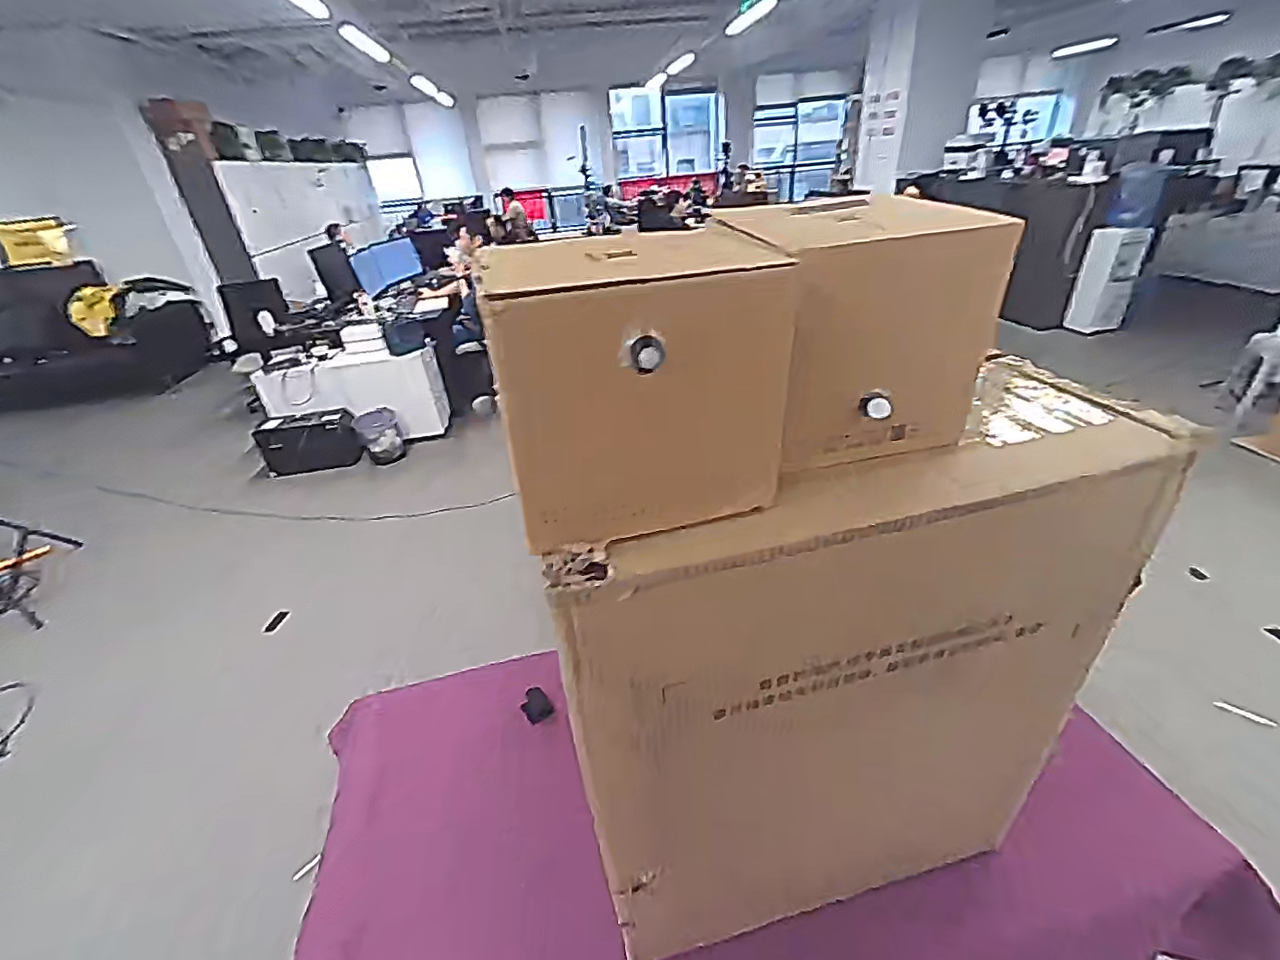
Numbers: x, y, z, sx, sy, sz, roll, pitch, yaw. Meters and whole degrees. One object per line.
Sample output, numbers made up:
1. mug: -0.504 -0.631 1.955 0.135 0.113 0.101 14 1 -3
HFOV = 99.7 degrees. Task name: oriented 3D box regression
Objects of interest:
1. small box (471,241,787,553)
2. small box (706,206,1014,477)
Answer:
1. small box: -0.015 -0.067 0.388 0.179 0.176 0.168 -10 31 -12
2. small box: 0.156 -0.123 0.456 0.168 0.176 0.179 -10 34 -7
